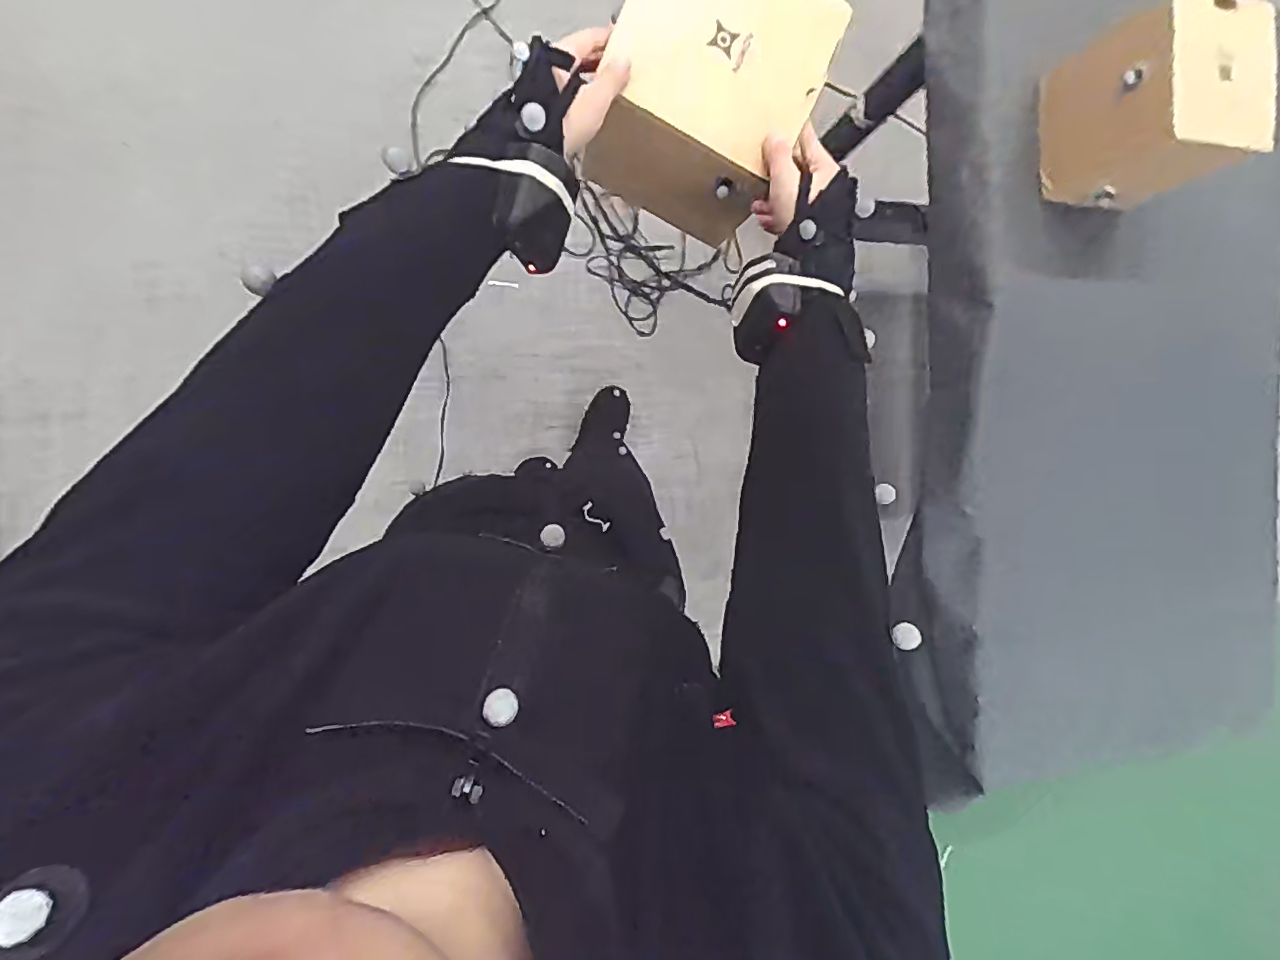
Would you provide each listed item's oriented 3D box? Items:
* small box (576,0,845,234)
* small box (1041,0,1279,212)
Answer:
[{"bbox_3d":[0.049,-0.366,0.514,0.179,0.176,0.168,22,92,-13],"label":"small box"},{"bbox_3d":[0.671,-0.484,0.713,0.168,0.176,0.179,-3,94,-13],"label":"small box"}]
